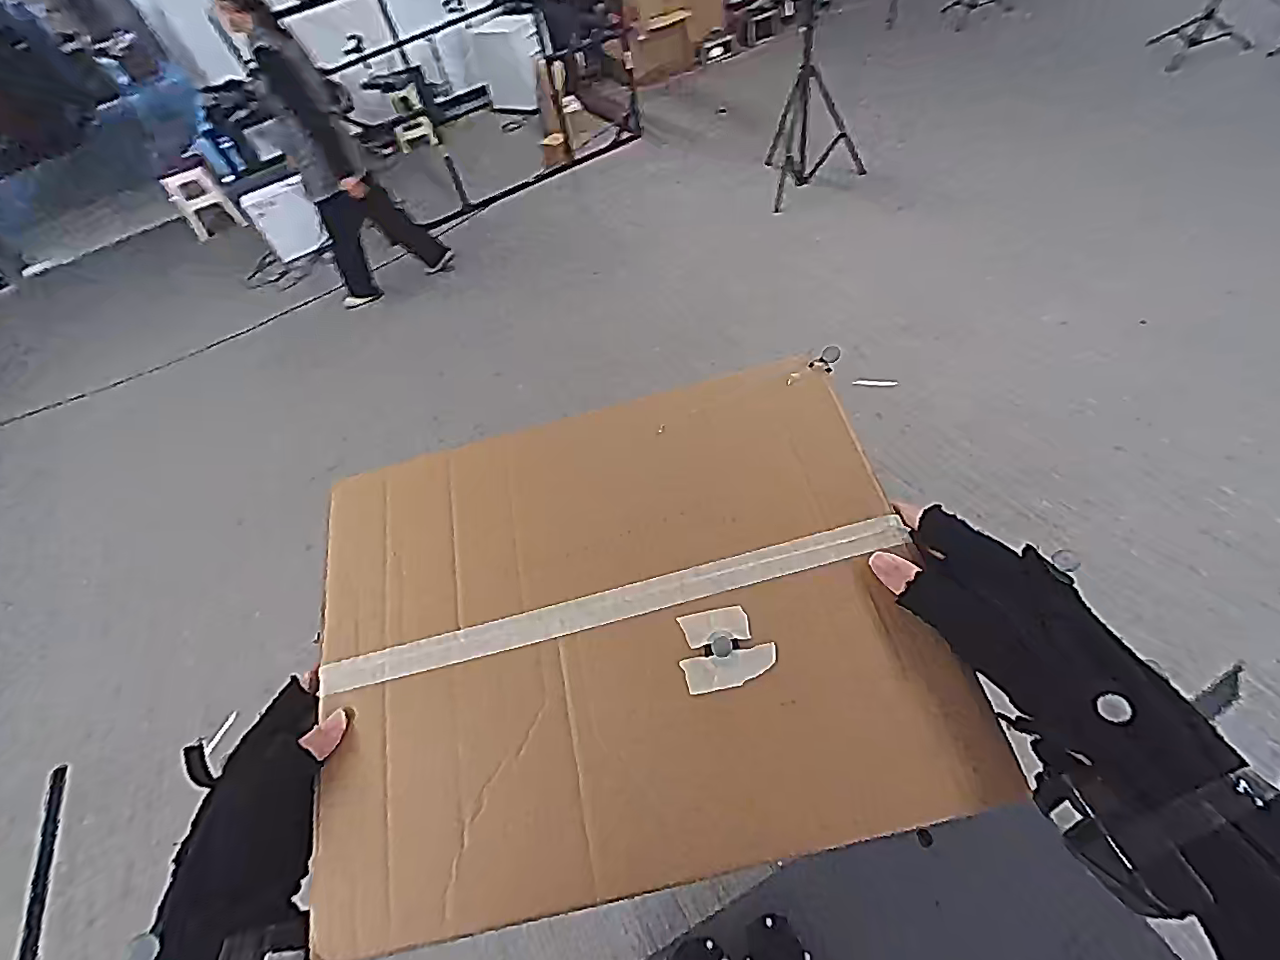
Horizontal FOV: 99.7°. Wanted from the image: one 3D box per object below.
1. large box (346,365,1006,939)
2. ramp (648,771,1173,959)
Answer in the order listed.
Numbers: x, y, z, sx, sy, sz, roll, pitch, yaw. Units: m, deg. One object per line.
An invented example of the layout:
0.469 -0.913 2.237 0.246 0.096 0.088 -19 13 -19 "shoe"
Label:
0.007 0.152 0.510 0.408 0.320 0.320 -14 64 1 "large box"
0.508 0.971 1.068 0.991 0.206 0.509 -29 51 -11 "ramp"
